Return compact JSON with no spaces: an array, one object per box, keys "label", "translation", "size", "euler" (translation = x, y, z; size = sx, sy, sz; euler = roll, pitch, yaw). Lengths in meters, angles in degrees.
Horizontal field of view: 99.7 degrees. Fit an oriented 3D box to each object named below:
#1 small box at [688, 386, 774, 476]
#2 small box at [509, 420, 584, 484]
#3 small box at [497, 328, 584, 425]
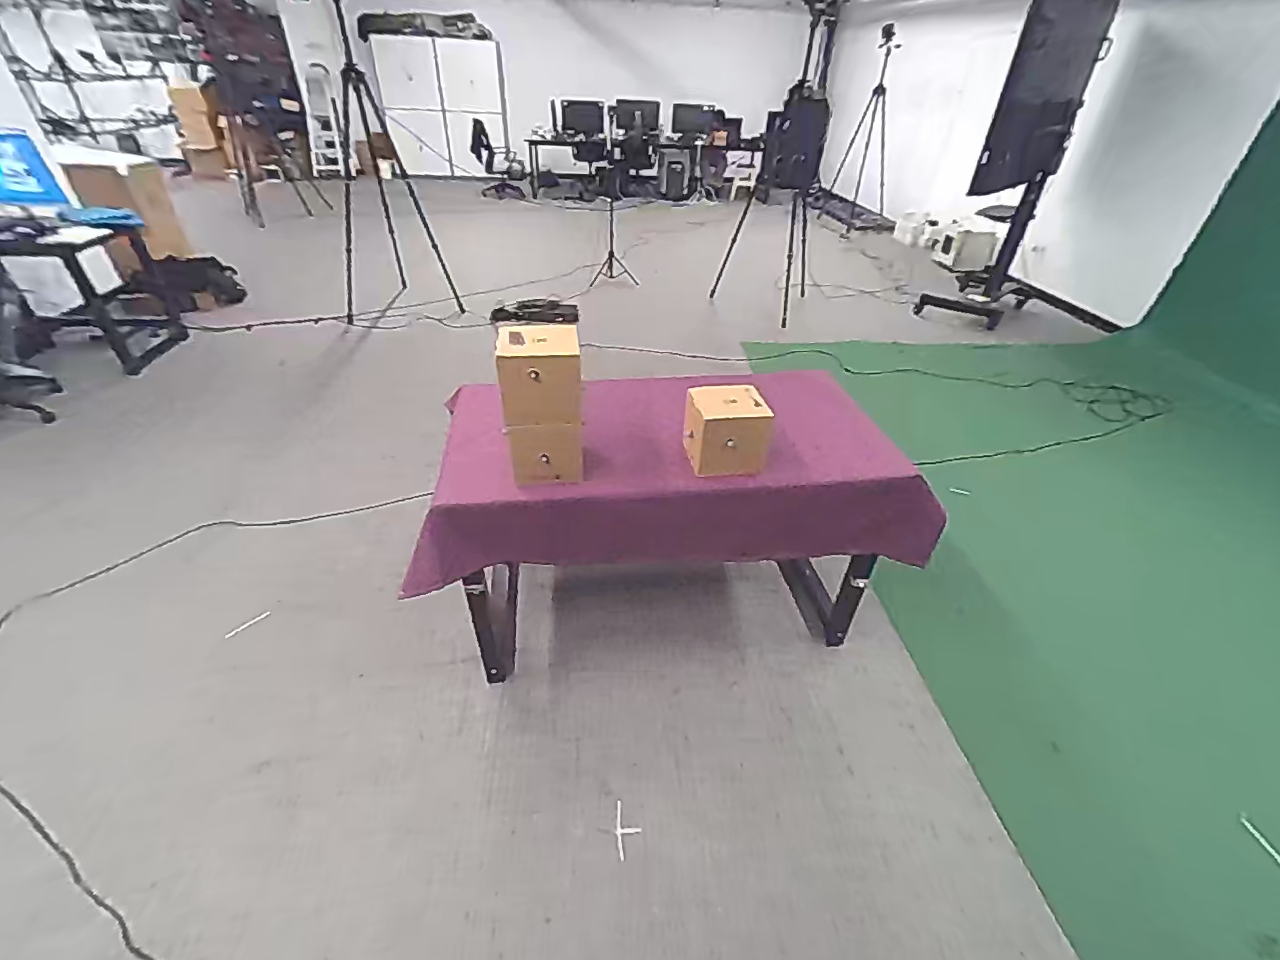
[{"label":"small box","translation":[0.220,-0.122,1.371],"size":[0.179,0.176,0.168],"euler":[-5,37,-8]},{"label":"small box","translation":[-0.224,-0.101,1.323],"size":[0.168,0.176,0.179],"euler":[-3,36,-8]},{"label":"small box","translation":[-0.220,-0.233,1.223],"size":[0.179,0.176,0.168],"euler":[-3,37,-8]}]
